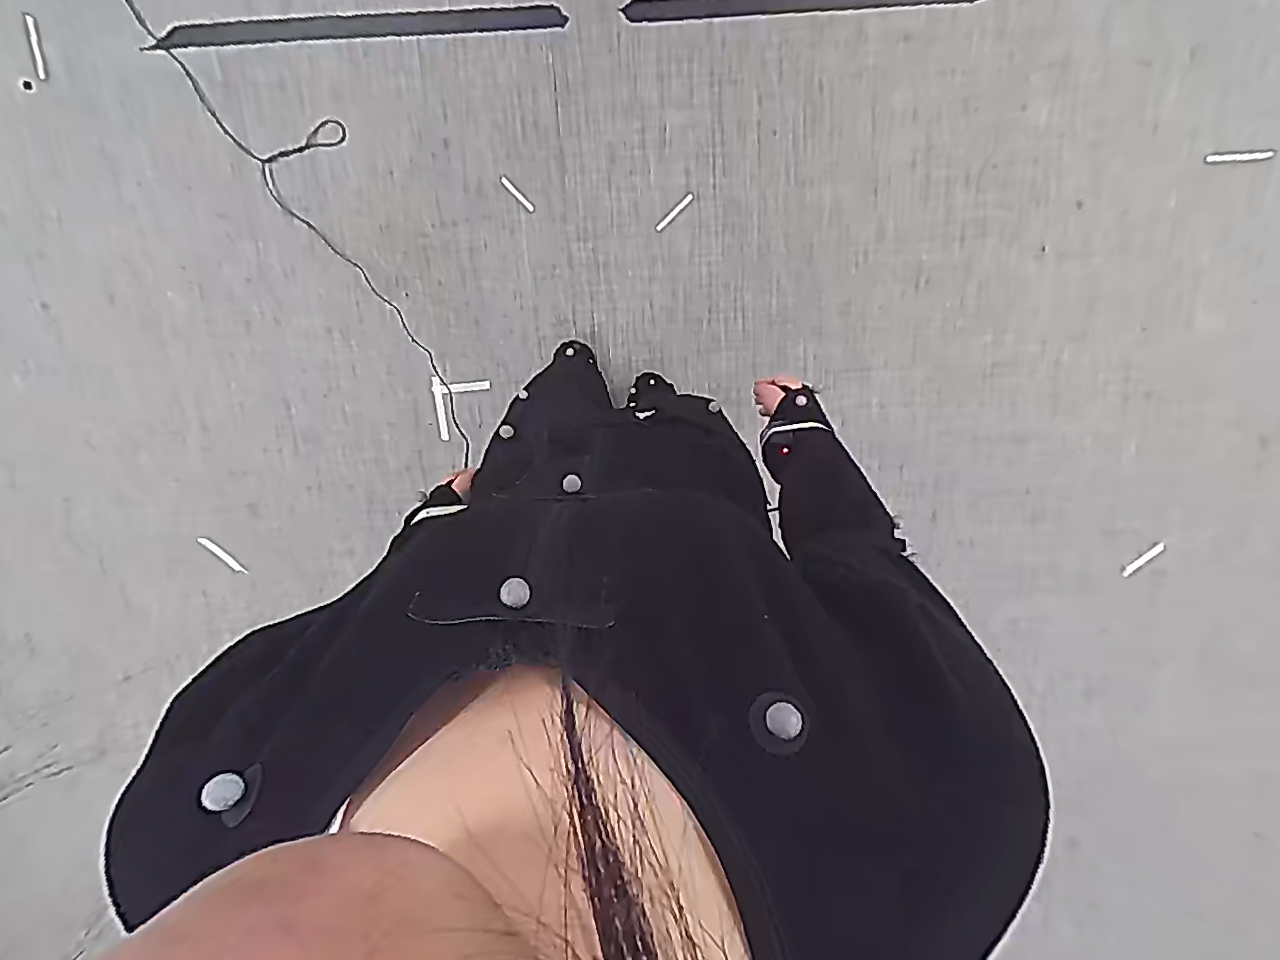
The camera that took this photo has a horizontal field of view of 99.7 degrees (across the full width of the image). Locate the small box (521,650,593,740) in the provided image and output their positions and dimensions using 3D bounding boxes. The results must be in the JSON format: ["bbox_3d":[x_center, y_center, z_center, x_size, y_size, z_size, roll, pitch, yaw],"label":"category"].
[{"bbox_3d":[-0.229,0.606,1.536,0.168,0.176,0.179,-4,102,2],"label":"small box"}]
